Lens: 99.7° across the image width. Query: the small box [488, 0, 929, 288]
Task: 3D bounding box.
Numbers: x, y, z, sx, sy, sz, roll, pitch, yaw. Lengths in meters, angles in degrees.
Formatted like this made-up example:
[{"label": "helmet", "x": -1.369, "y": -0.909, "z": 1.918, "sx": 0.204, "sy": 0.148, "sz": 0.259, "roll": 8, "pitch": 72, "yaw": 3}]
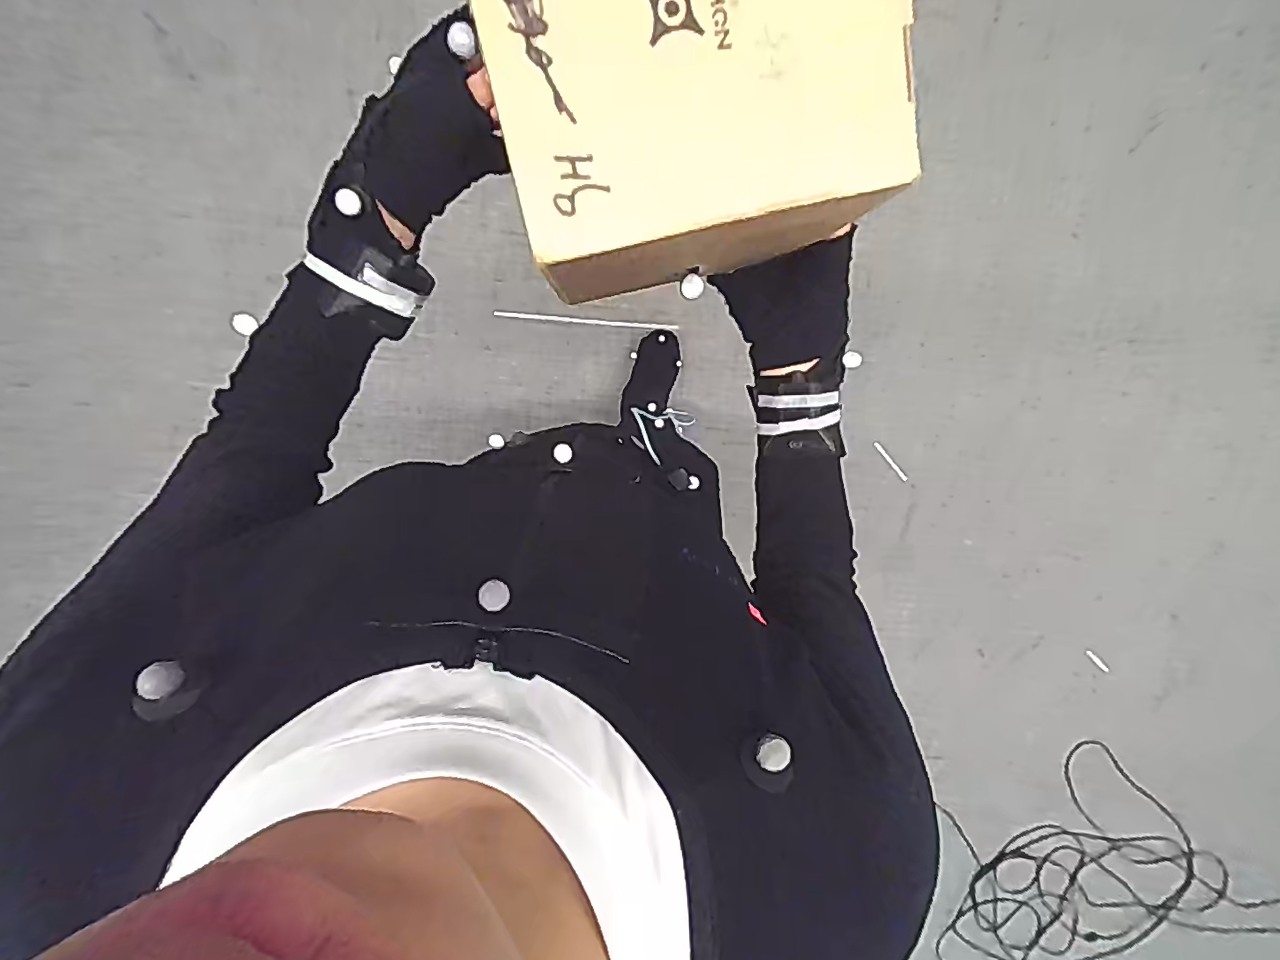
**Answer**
[{"label": "small box", "x": 0.020, "y": -0.212, "z": 0.293, "sx": 0.179, "sy": 0.176, "sz": 0.168, "roll": -12, "pitch": 102, "yaw": -2}]
